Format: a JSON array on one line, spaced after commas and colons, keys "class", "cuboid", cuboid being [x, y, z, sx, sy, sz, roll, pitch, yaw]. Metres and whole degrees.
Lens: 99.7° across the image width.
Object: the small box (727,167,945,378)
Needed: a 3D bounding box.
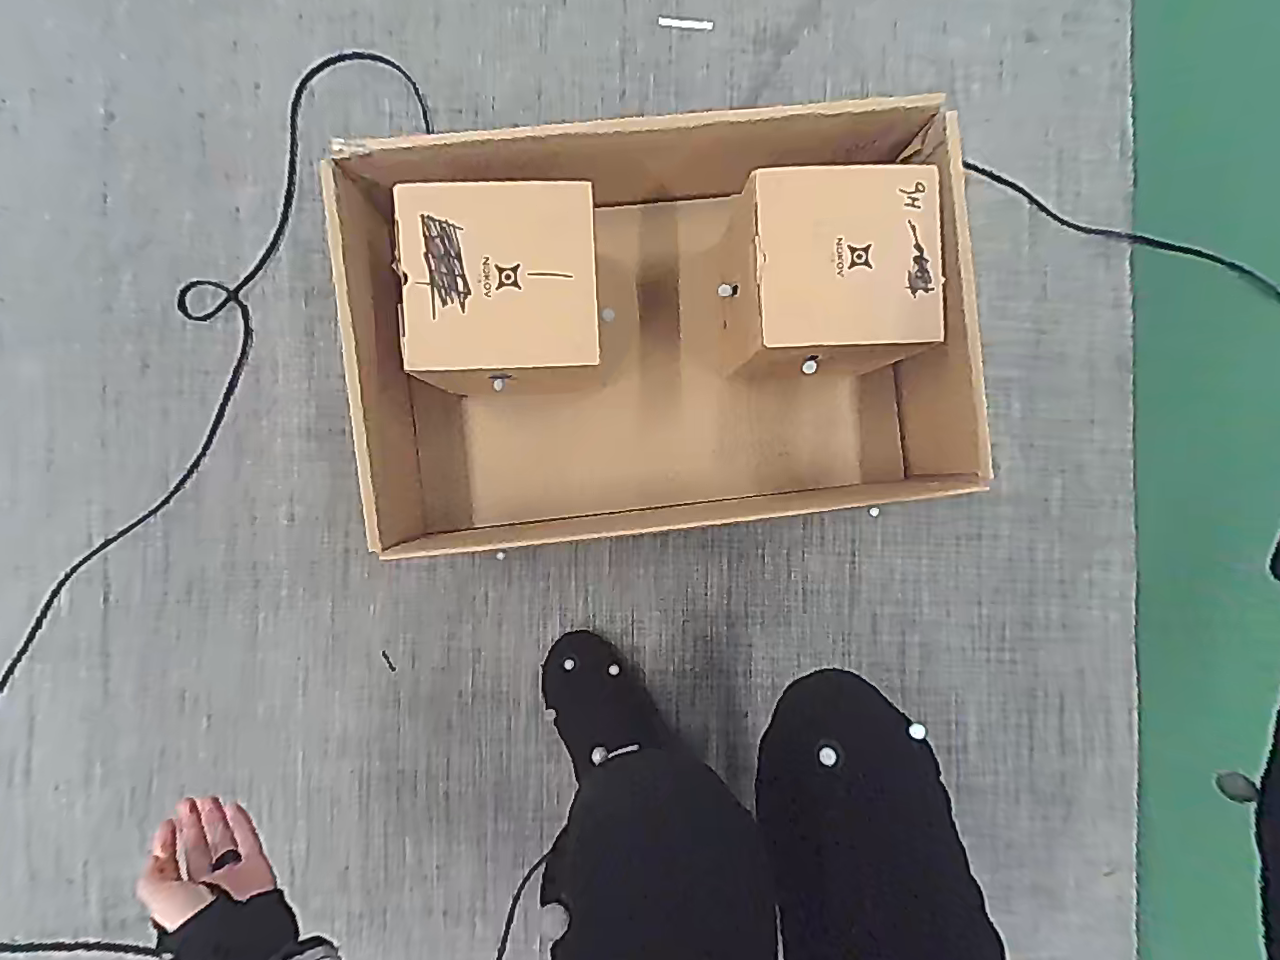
[{"class": "small box", "cuboid": [0.191, -0.205, 0.577, 0.179, 0.176, 0.168, -2, 90, -3]}]
